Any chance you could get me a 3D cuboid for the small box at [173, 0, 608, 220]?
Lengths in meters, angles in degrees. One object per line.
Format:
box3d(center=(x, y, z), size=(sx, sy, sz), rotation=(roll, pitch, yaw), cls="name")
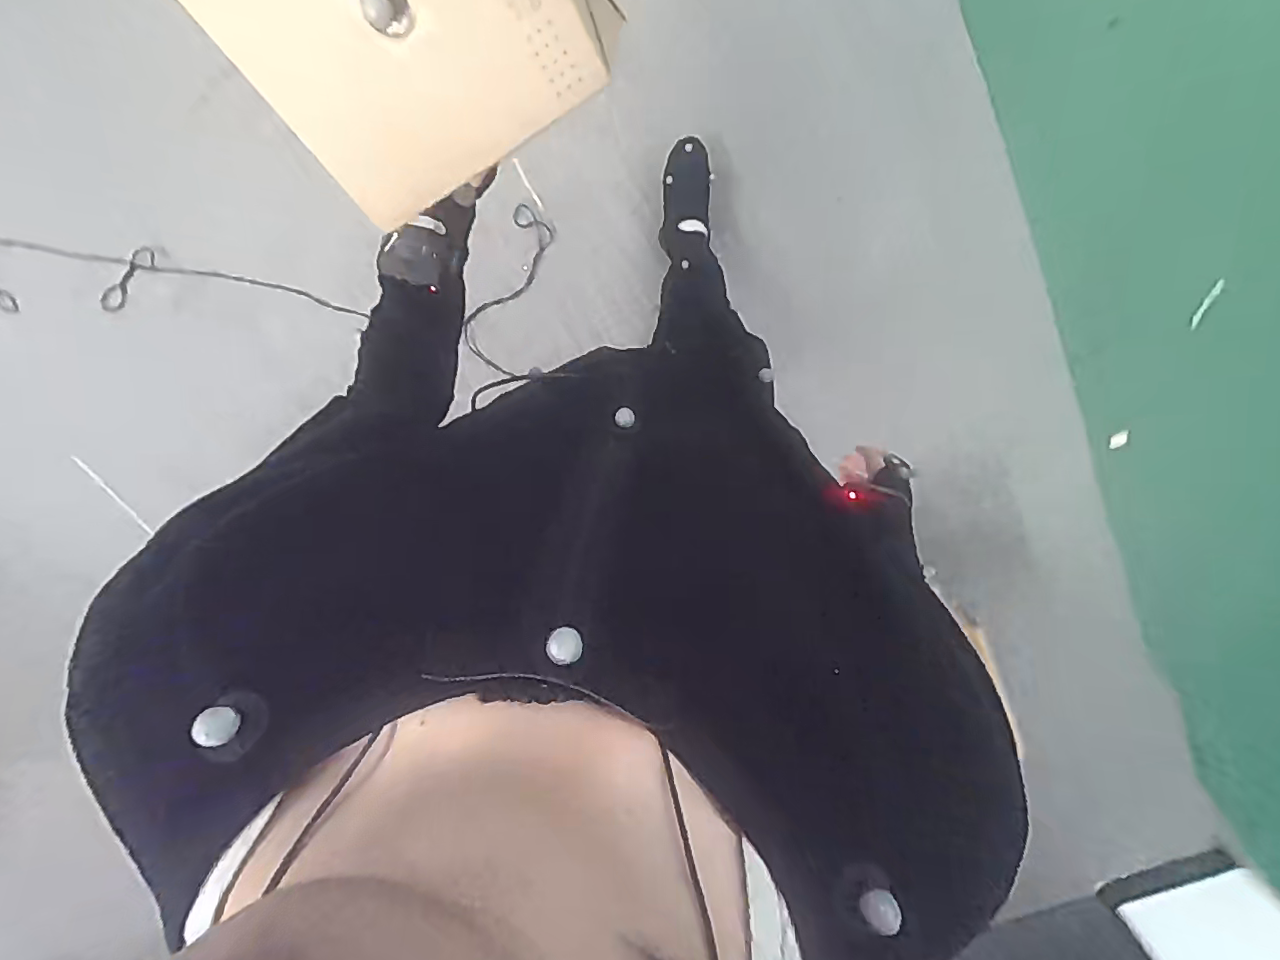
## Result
box3d(center=(-0.129, -0.291, 0.301), size=(0.176, 0.179, 0.168), rotation=(-20, 135, 21), cls="small box")
